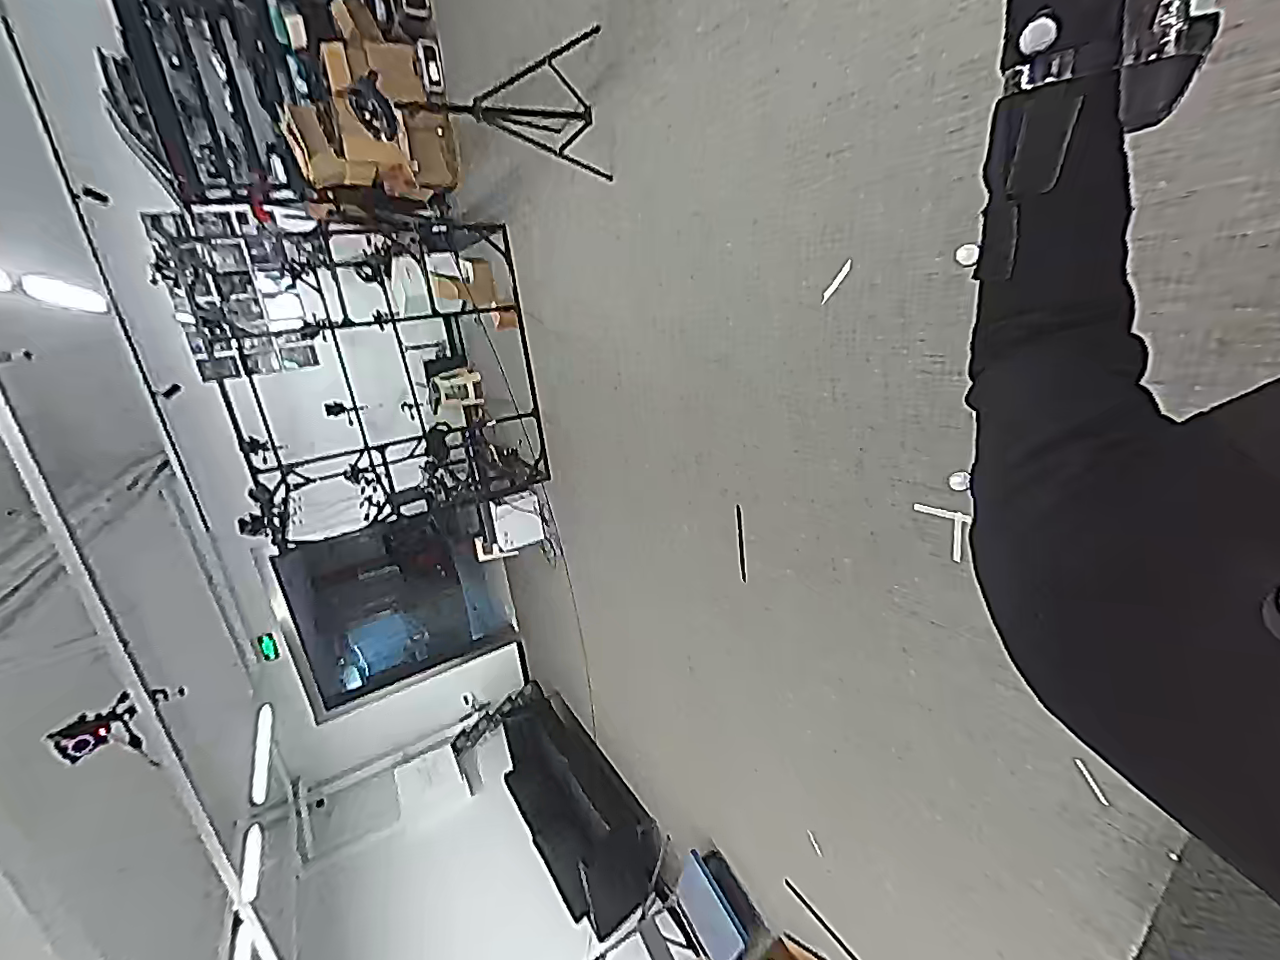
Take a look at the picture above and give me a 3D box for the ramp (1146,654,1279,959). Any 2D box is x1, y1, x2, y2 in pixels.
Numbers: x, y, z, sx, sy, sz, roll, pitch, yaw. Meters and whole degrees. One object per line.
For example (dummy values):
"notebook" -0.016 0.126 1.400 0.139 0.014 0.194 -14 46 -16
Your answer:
"ramp" 1.367 0.819 0.991 0.509 0.206 0.991 26 127 57
